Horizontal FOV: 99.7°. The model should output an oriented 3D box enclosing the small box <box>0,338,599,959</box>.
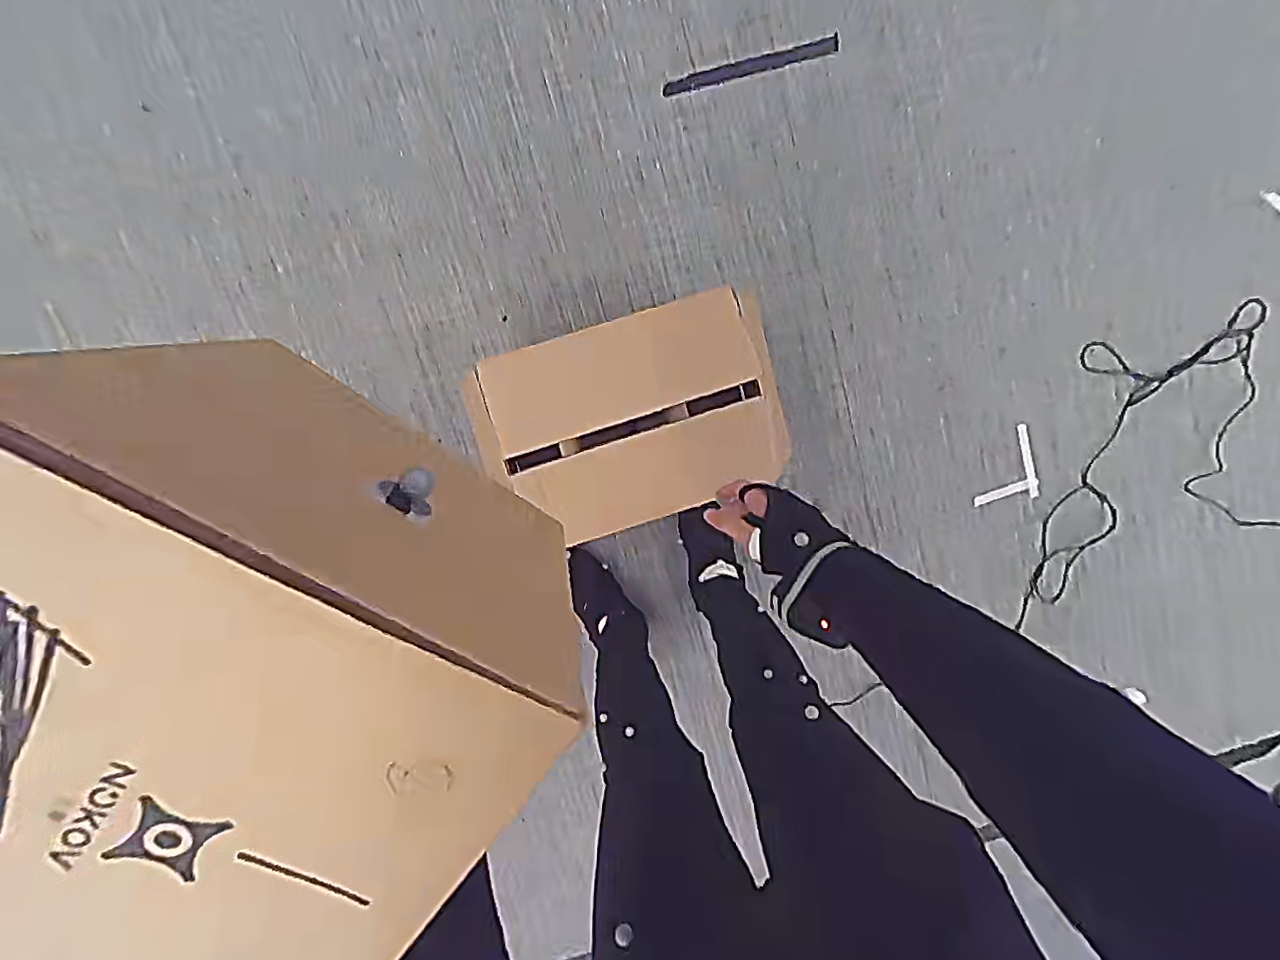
[{"bbox_3d":[-0.142,0.063,0.214,0.179,0.176,0.168,35,97,-19],"label":"small box"}]
